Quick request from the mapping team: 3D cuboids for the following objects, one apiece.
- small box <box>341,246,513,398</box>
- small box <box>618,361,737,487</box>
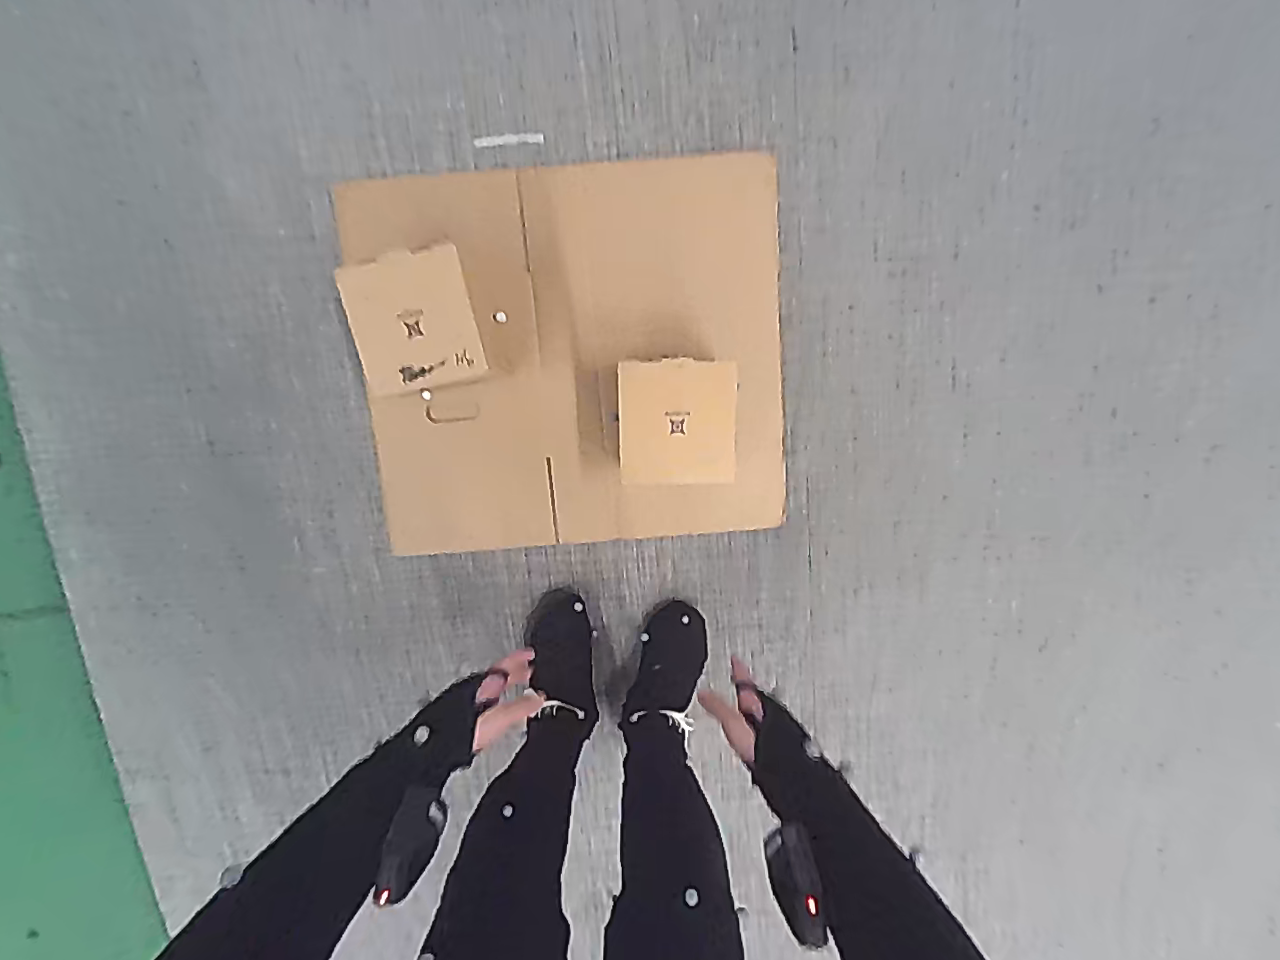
[{"bbox_3d":[-0.301,-0.222,0.803,0.168,0.176,0.179,-12,100,1],"label":"small box"},{"bbox_3d":[0.053,-0.090,0.829,0.168,0.176,0.179,-1,99,0],"label":"small box"}]
